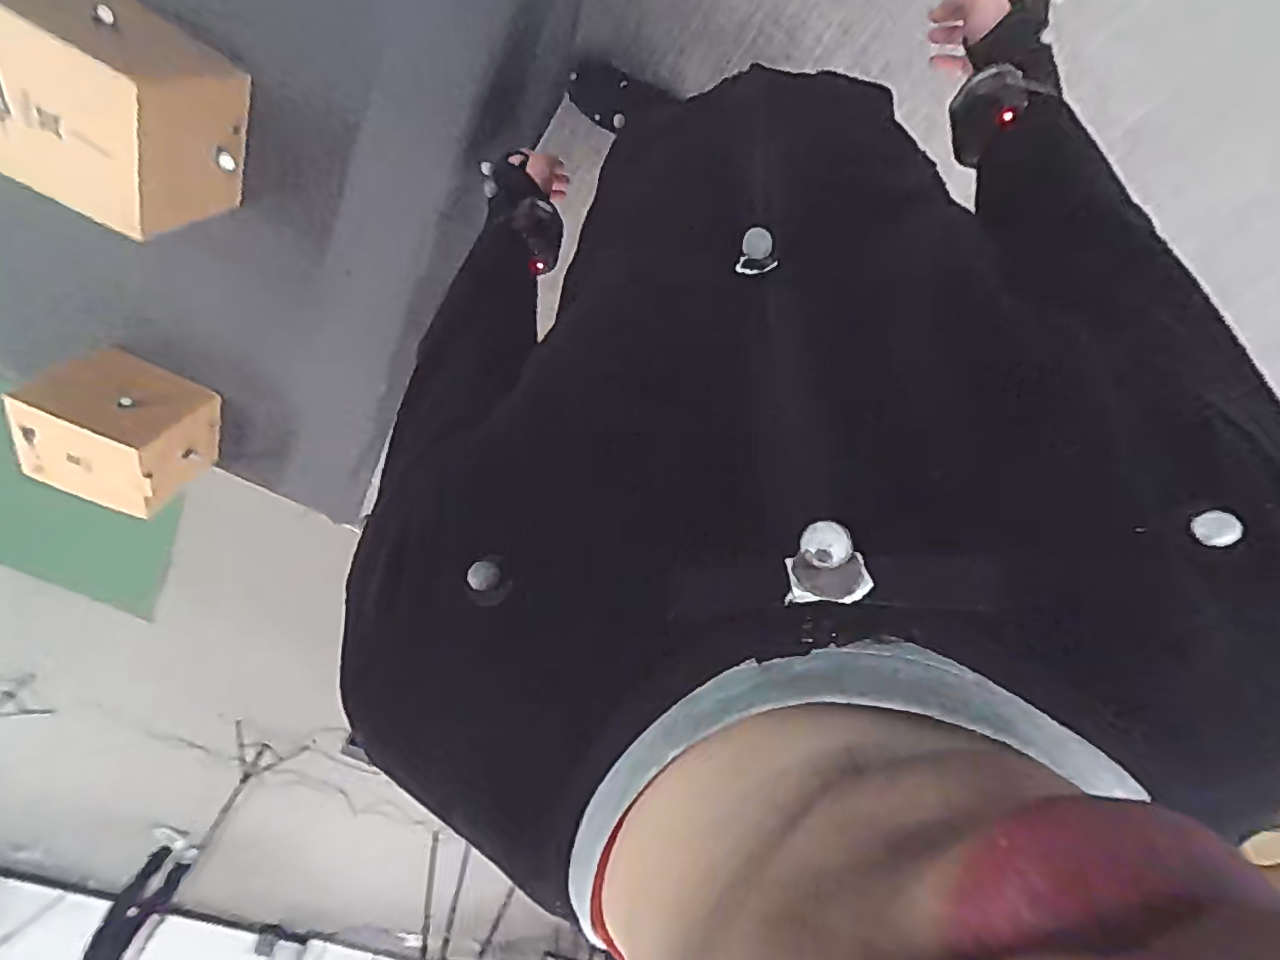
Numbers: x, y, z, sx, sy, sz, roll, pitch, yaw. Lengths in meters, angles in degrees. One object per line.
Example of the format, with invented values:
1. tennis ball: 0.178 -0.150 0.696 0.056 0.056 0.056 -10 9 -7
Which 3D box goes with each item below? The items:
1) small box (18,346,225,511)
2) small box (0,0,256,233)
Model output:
1. small box: -0.811 -0.087 0.872 0.179 0.176 0.168 25 127 -14
2. small box: -0.560 -0.404 0.578 0.179 0.176 0.168 27 128 -16
